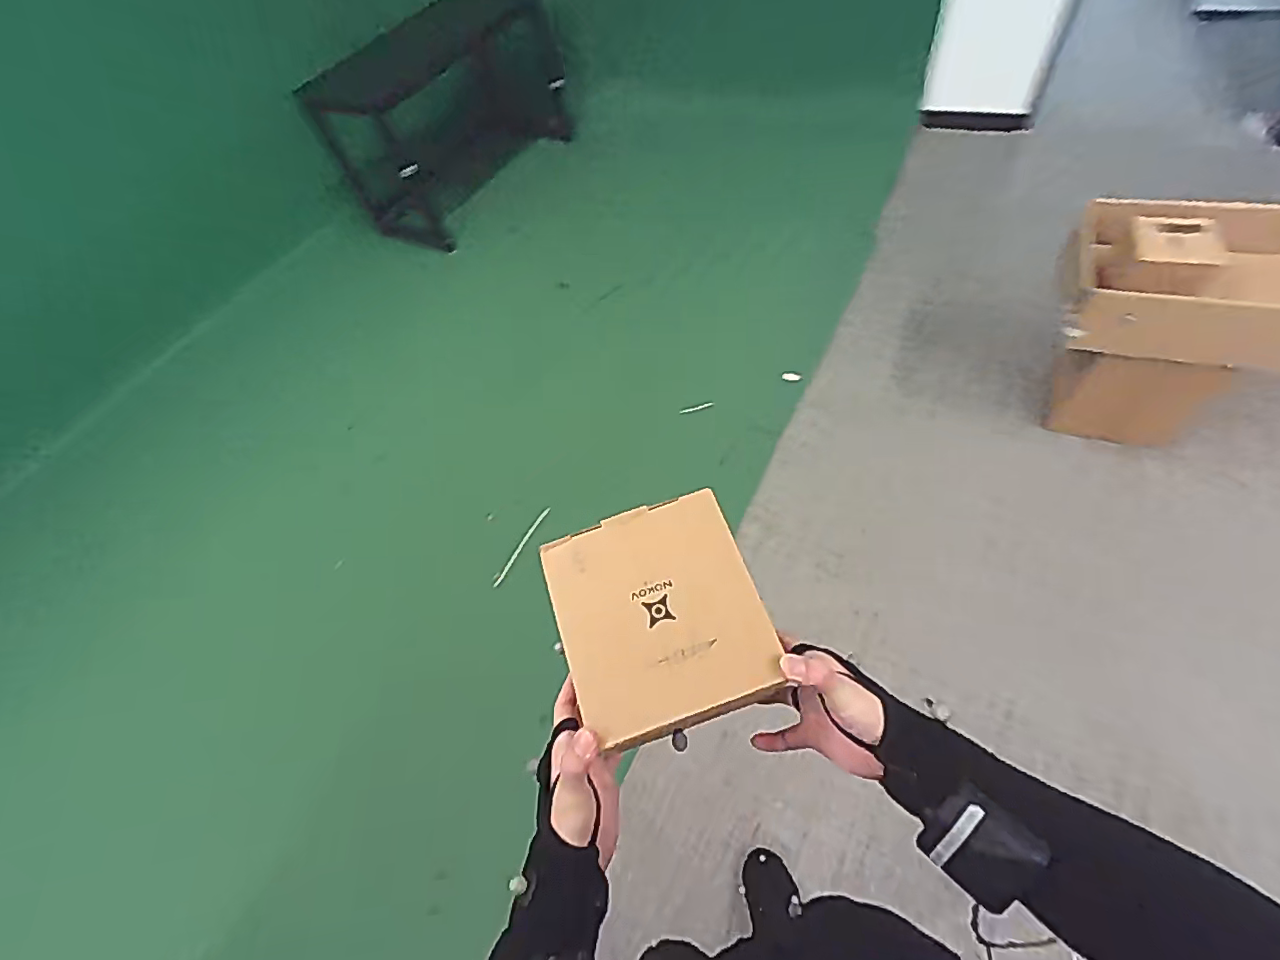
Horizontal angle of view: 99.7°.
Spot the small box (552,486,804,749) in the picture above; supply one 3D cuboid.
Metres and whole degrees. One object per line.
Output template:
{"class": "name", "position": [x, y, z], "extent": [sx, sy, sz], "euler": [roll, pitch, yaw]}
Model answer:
{"class": "small box", "position": [0.028, 0.135, 0.504], "extent": [0.168, 0.176, 0.179], "euler": [-16, 63, -3]}
